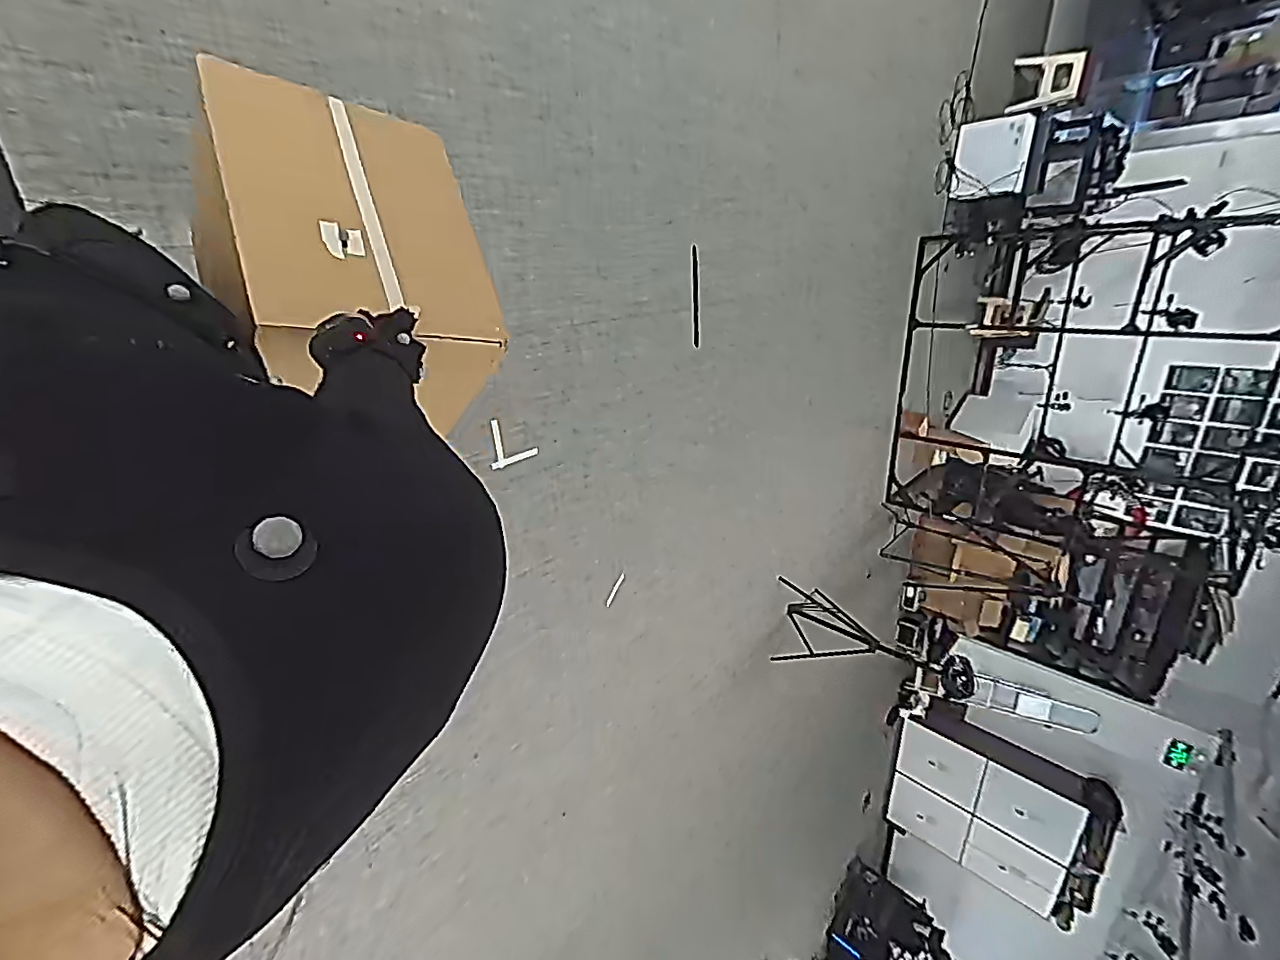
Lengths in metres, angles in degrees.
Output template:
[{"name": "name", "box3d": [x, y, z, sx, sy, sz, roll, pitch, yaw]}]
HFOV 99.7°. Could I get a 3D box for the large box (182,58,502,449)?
[{"name": "large box", "box3d": [-0.468, -0.298, 0.827, 0.320, 0.320, 0.408, -9, 74, -42]}]
